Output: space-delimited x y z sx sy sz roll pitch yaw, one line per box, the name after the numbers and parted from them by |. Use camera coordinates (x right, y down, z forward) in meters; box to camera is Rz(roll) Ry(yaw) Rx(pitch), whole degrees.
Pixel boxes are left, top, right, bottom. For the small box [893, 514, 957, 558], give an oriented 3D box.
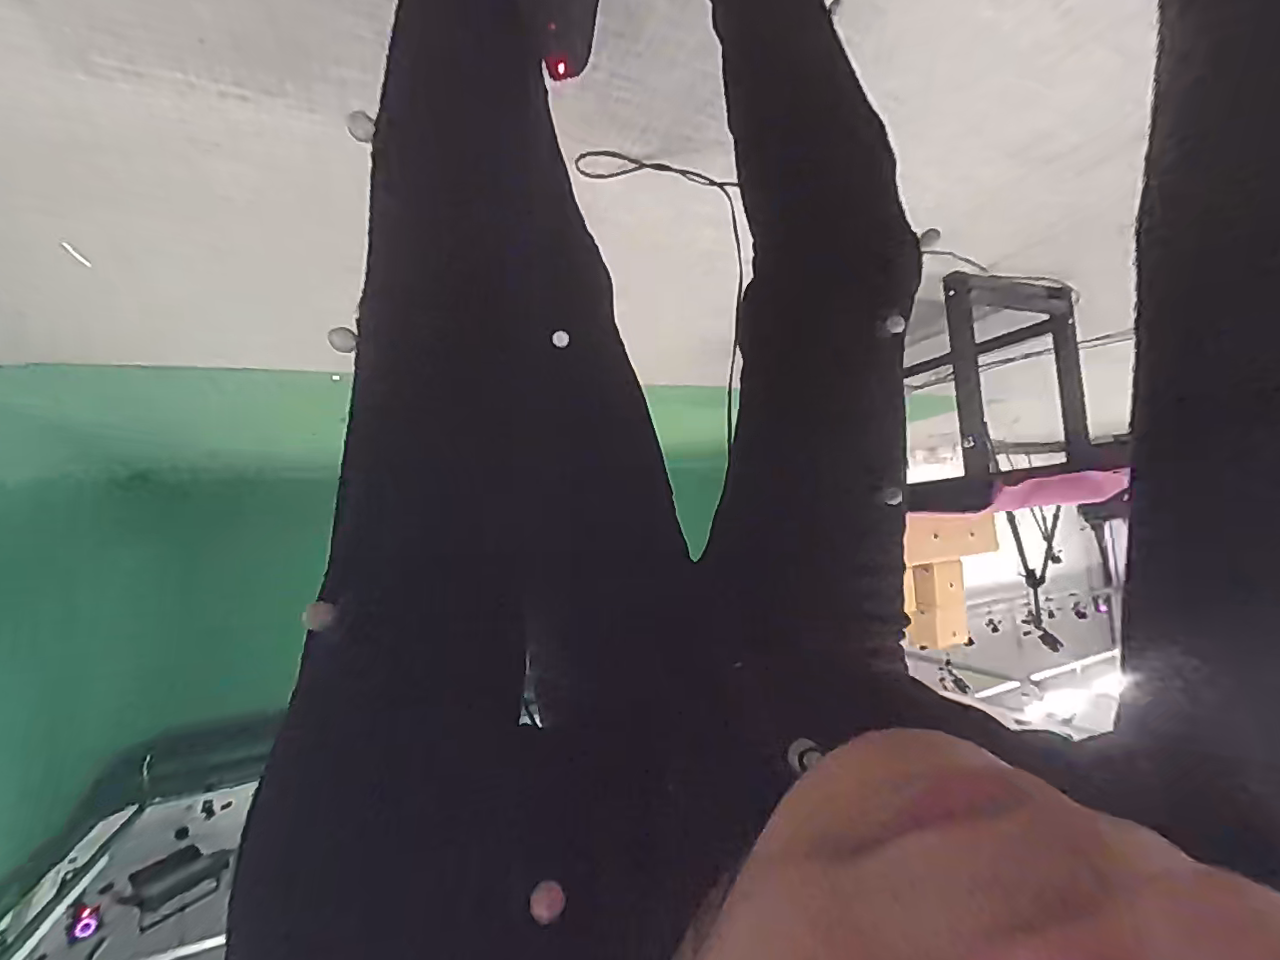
1.172 0.224 2.227 0.179 0.176 0.168 0 176 -24 | small box

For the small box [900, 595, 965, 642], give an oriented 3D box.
1.194 0.550 2.213 0.179 0.176 0.168 0 176 -24 | small box

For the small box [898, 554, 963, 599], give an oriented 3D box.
1.188 0.388 2.221 0.179 0.176 0.168 -2 177 -24 | small box
